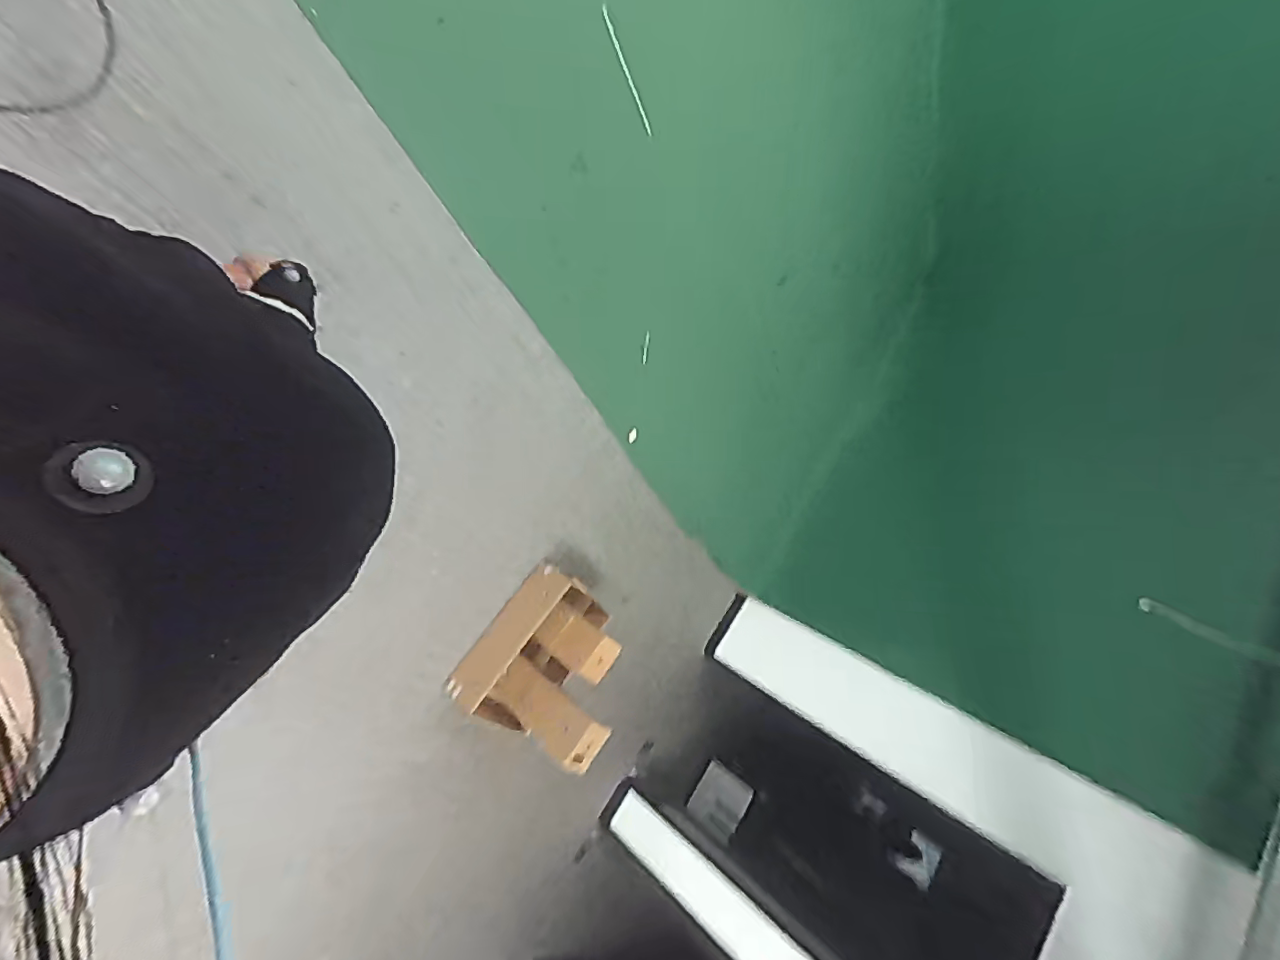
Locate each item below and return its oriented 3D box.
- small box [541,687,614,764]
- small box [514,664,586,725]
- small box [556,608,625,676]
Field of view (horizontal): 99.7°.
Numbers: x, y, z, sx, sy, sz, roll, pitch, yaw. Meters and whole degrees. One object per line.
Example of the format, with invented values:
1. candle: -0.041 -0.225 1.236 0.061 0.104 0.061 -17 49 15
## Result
1. small box: -0.233 0.887 1.958 0.179 0.176 0.168 -53 140 -16
2. small box: -0.345 0.831 2.064 0.168 0.176 0.179 -53 141 -16
3. small box: -0.199 0.632 2.126 0.179 0.176 0.168 -53 140 -12
